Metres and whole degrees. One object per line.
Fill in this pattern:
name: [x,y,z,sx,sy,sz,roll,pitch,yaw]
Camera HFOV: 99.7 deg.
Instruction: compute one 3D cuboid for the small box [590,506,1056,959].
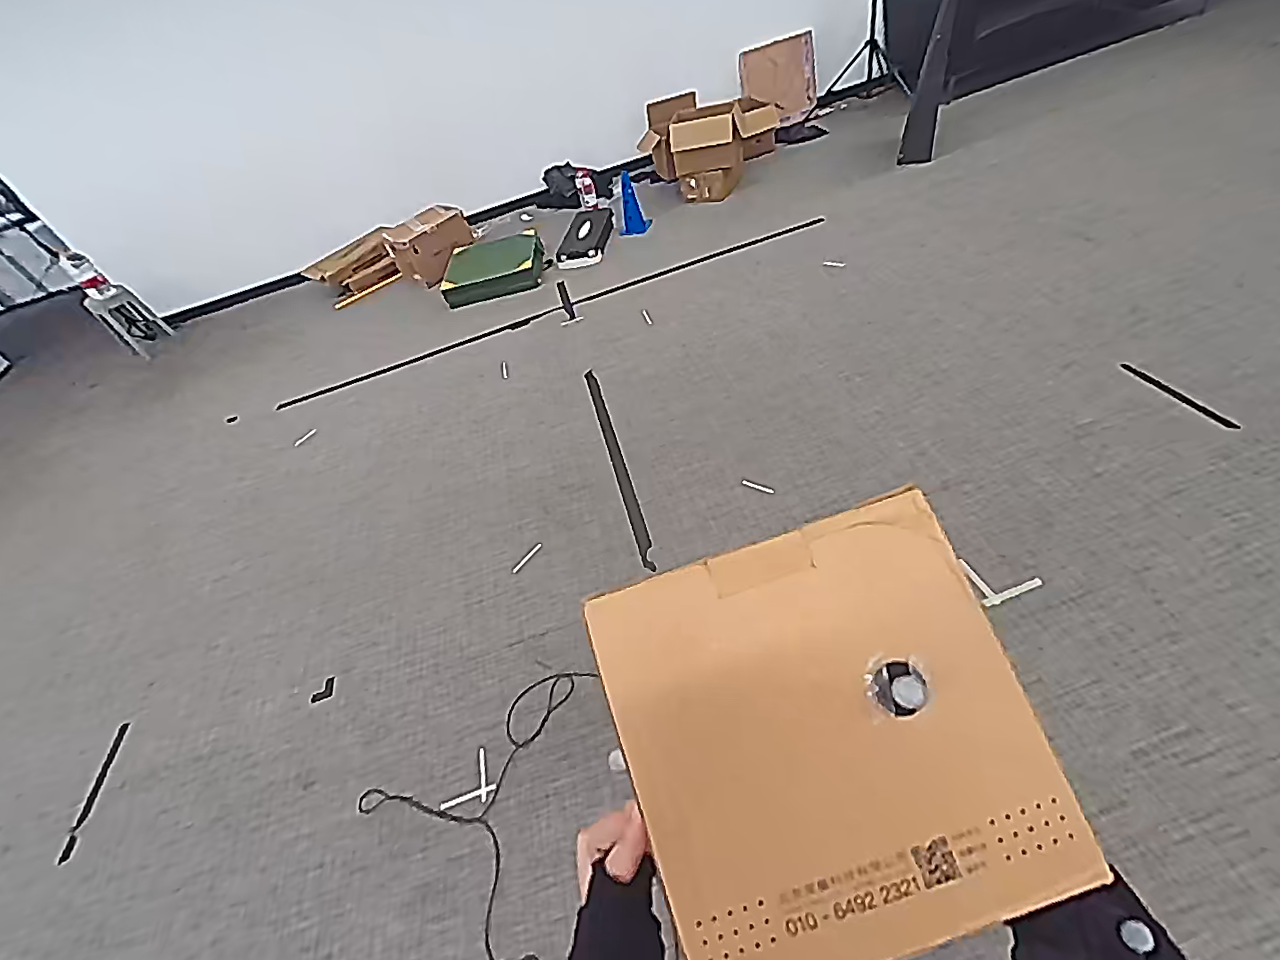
small box: [0.085,0.134,0.319,0.168,0.179,0.176,-19,75,1]
